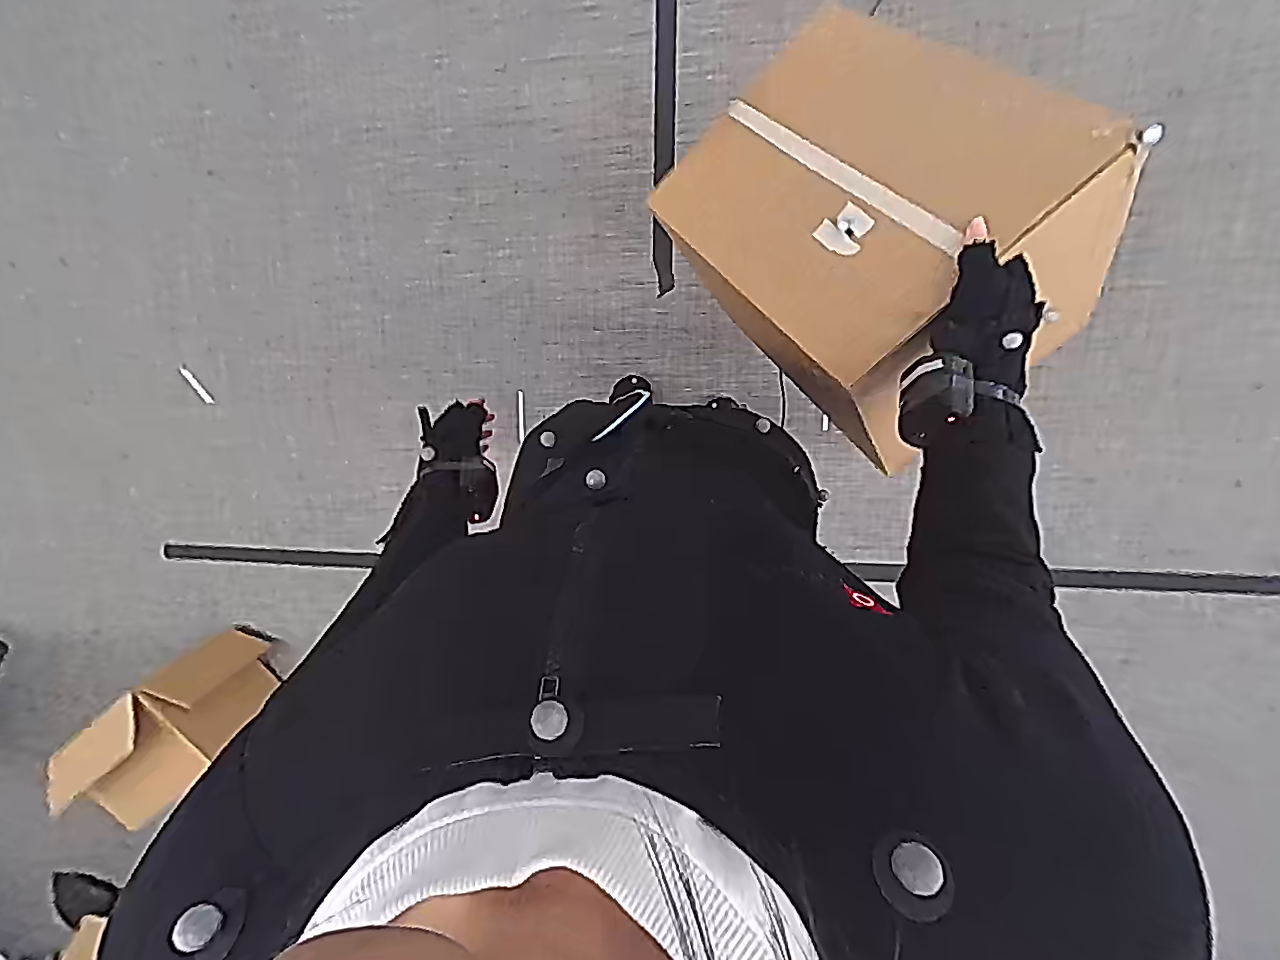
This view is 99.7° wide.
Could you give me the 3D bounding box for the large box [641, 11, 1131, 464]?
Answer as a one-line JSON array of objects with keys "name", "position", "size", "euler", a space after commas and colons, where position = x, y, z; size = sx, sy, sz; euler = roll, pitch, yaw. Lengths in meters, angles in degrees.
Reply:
[{"name": "large box", "position": [0.278, -0.290, 0.708], "size": [0.320, 0.320, 0.408], "euler": [-44, 59, 15]}]
